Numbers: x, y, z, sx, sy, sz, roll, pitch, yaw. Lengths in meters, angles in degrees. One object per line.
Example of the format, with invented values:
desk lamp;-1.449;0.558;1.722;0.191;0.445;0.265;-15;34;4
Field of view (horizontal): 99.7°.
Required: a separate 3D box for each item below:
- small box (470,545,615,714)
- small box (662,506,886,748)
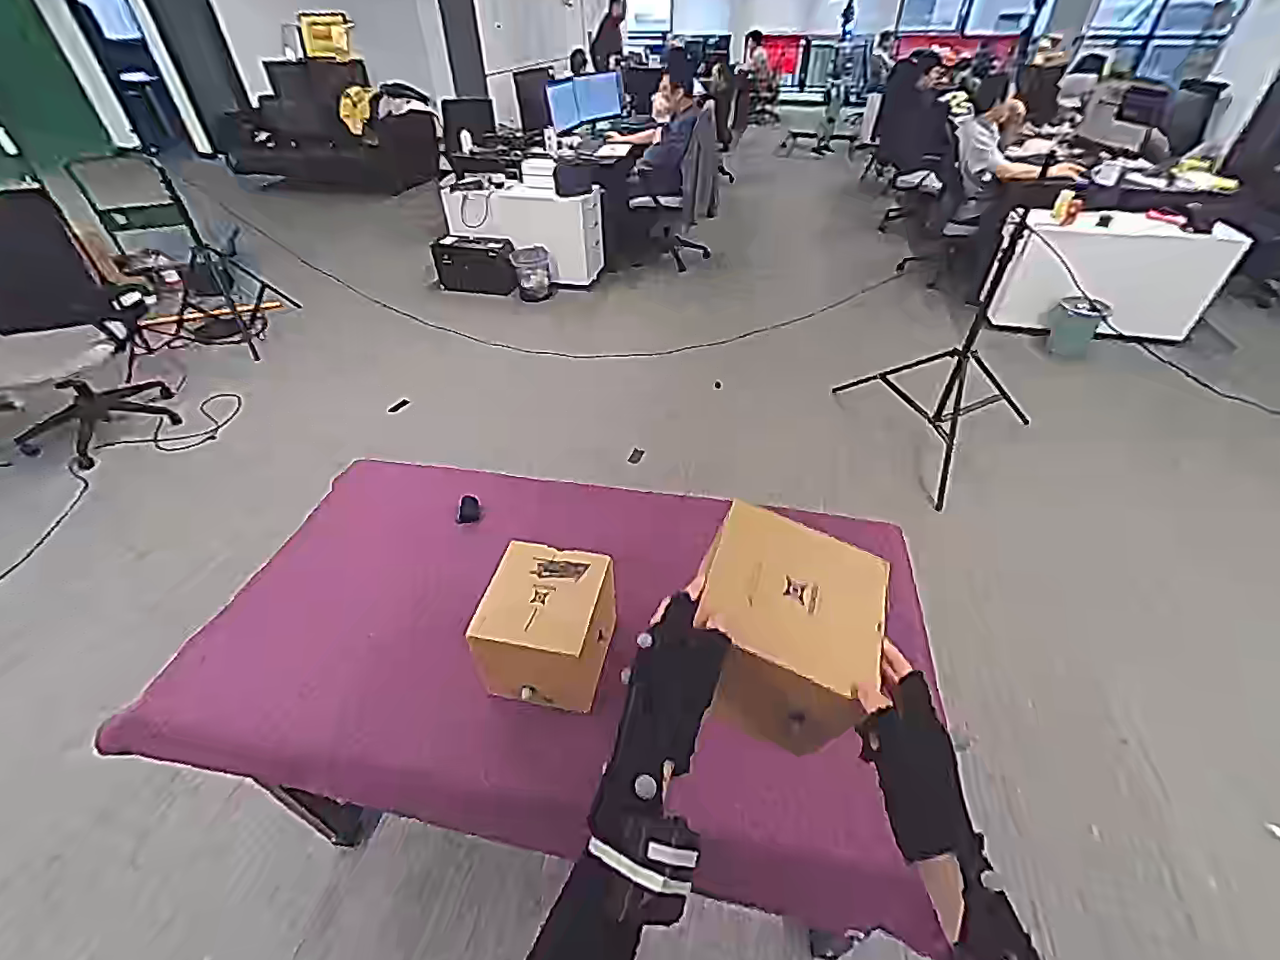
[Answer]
small box;-0.137;0.230;0.839;0.168;0.176;0.179;7;42;10
small box;0.140;0.164;0.587;0.179;0.176;0.168;21;47;7
